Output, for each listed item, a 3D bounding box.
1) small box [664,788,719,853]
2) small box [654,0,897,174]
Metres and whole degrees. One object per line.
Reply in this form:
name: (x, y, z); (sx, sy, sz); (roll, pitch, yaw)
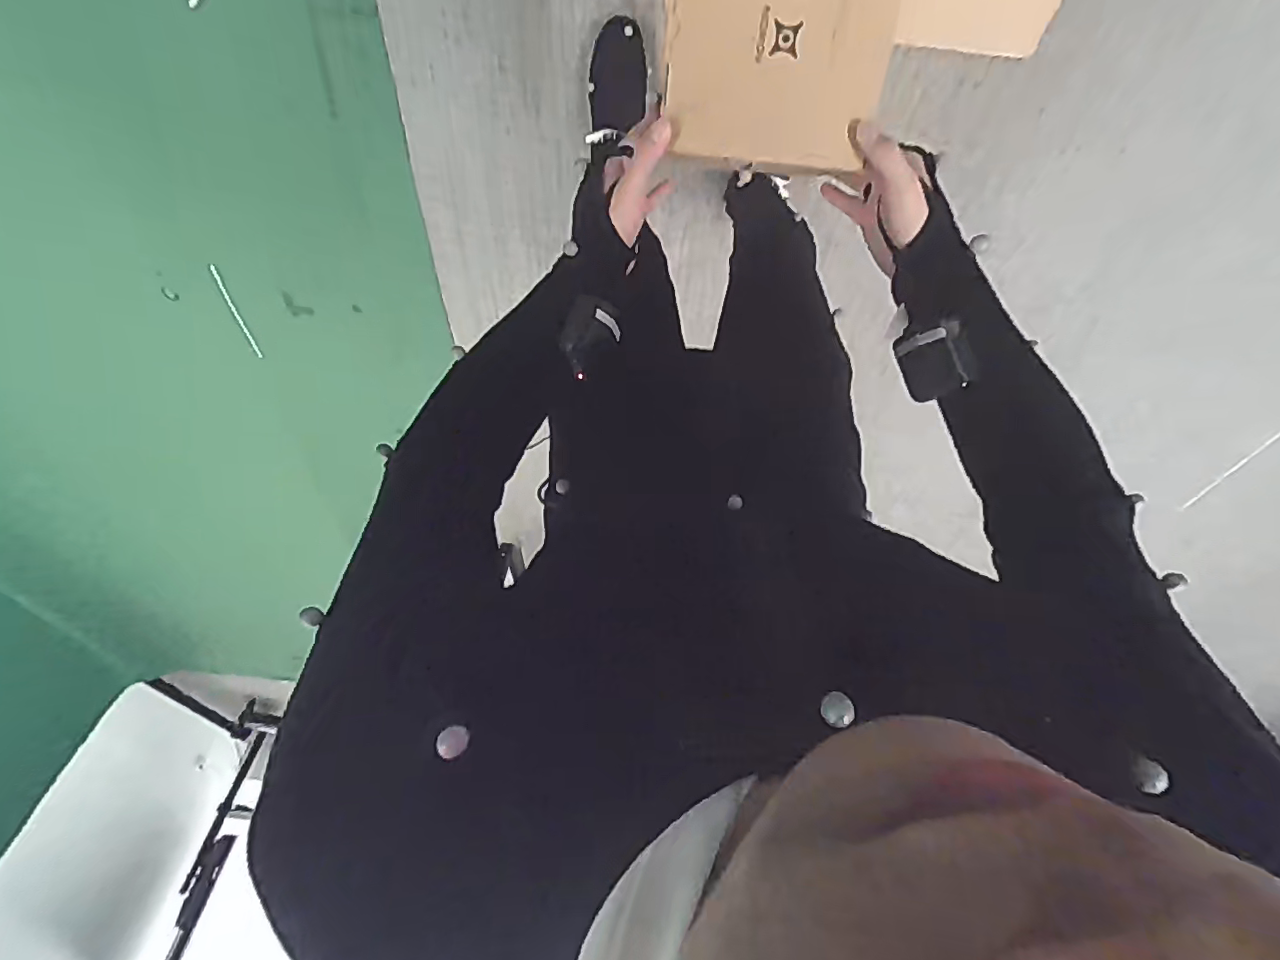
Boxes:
small box: (0.188, 1.227, 1.955); (0.179, 0.176, 0.168); (6, 139, 1)
small box: (0.109, -0.383, 0.494); (0.179, 0.176, 0.168); (6, 118, -2)
